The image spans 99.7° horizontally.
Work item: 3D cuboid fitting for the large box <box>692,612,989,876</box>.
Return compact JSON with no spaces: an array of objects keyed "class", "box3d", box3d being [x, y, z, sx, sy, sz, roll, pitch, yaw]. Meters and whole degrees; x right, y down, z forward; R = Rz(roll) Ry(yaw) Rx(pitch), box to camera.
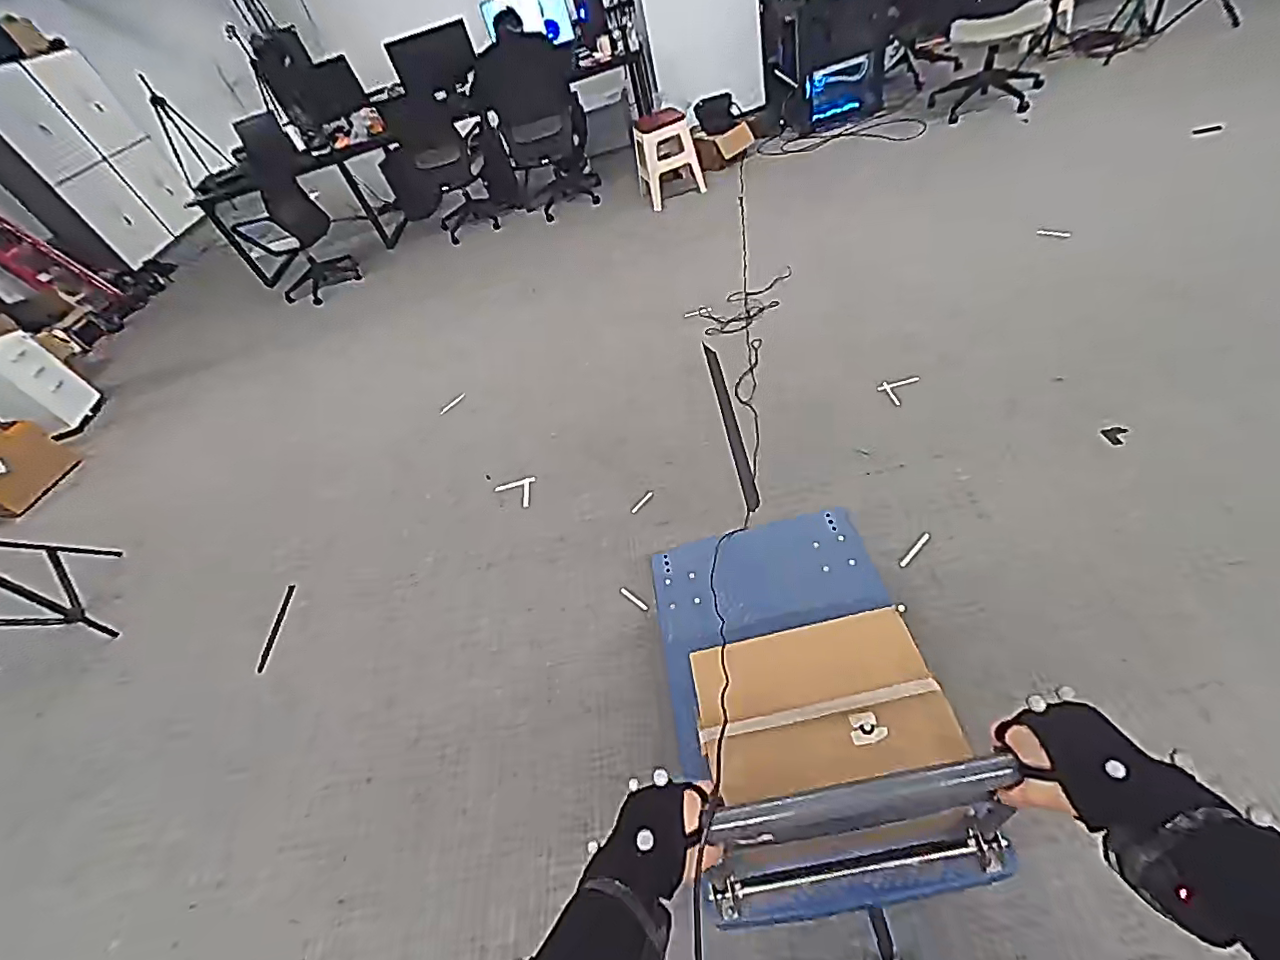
[{"class":"large box","box3d":[0.343,0.503,1.019,0.408,0.320,0.320,-15,46,6]}]
